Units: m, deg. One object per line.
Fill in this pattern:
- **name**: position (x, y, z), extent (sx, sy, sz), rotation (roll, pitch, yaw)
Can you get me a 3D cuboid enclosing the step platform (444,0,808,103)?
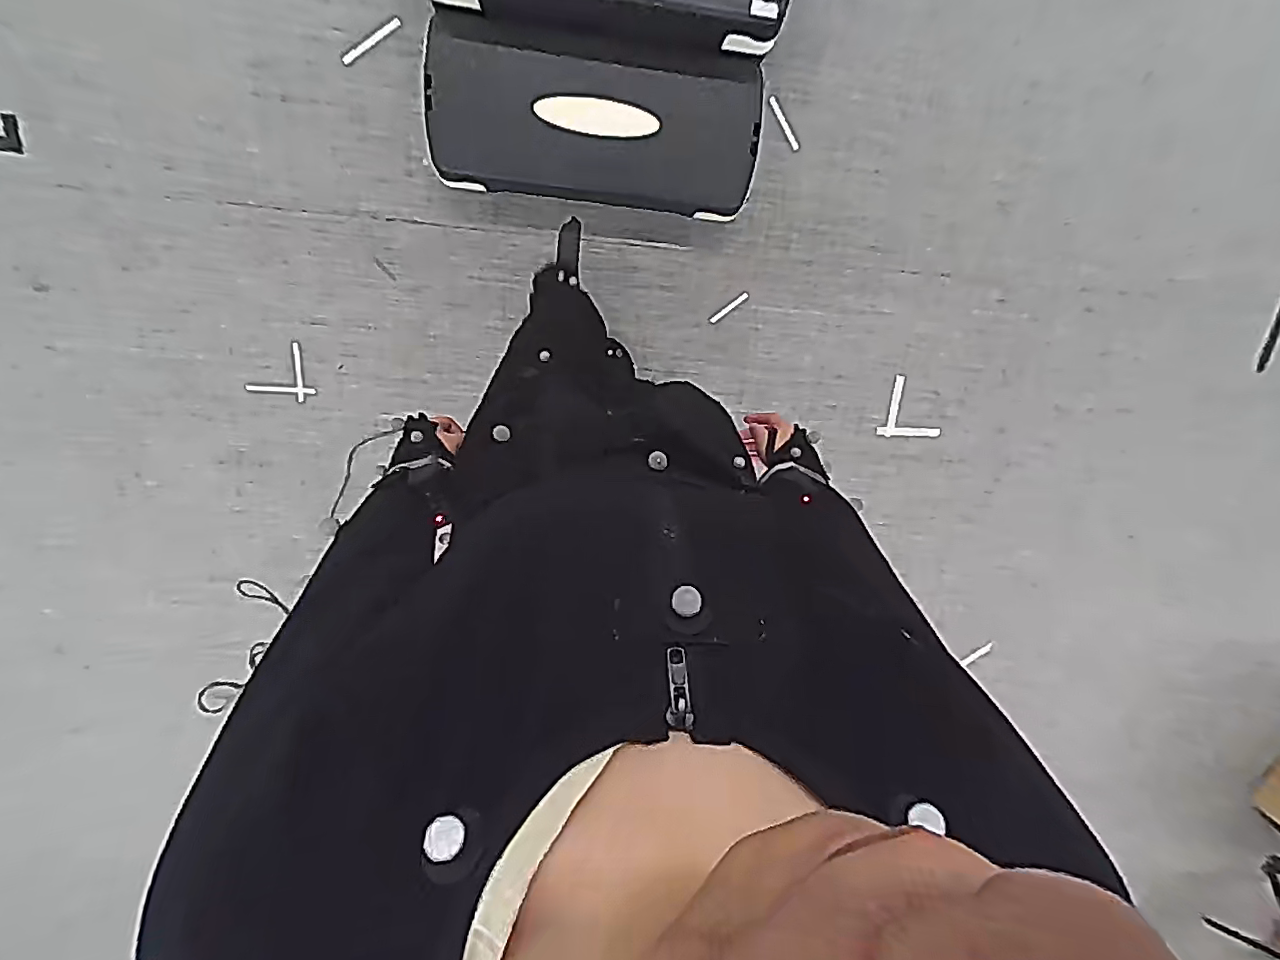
- **step platform**: position (-0.024, -0.959, 1.006), extent (0.684, 0.204, 0.286), rotation (8, 106, -8)
